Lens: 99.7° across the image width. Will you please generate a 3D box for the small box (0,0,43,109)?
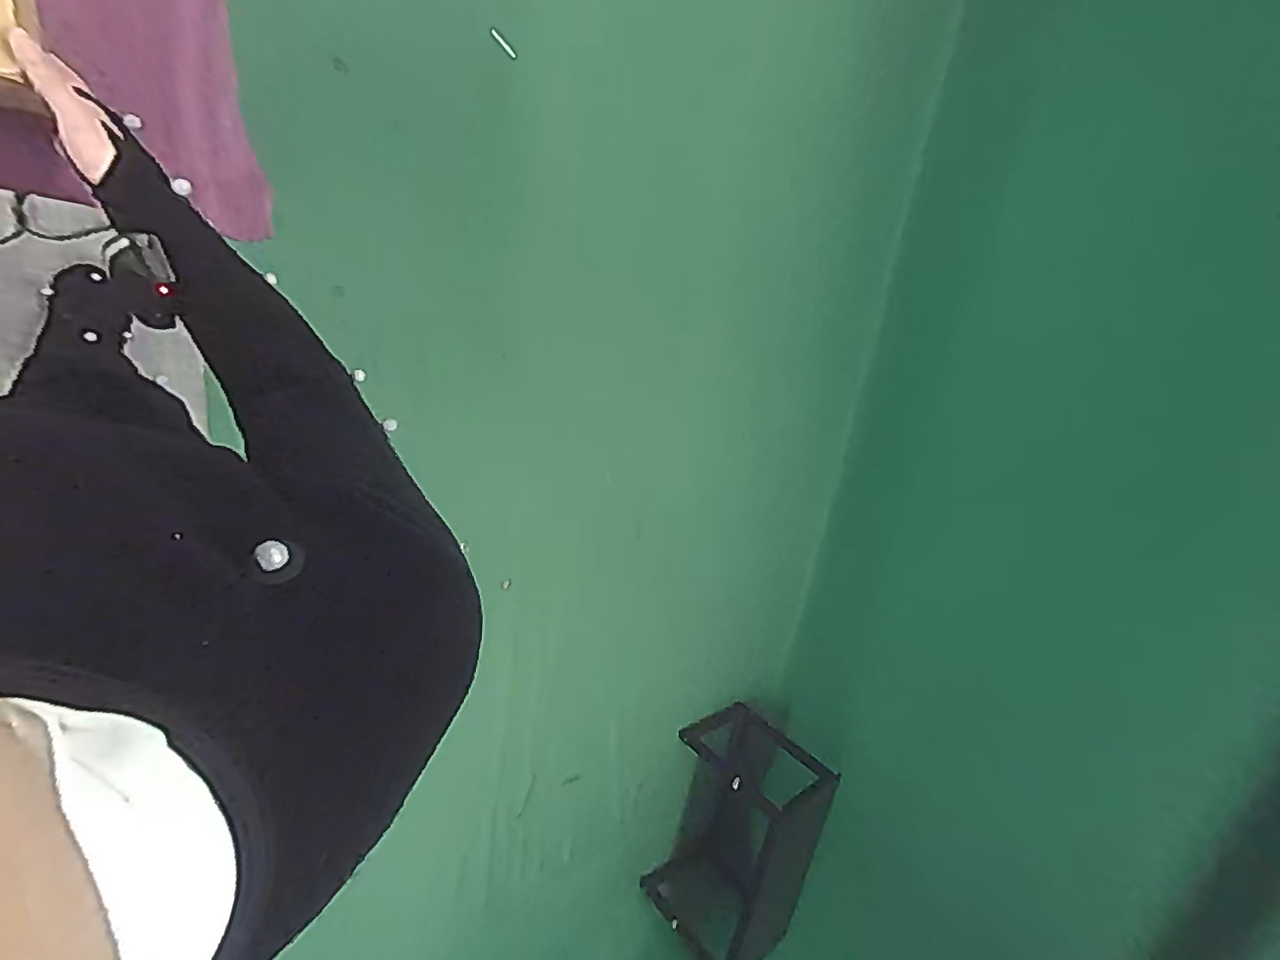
[{"bbox_3d":[-0.595,-0.416,0.410,0.168,0.176,0.179,-8,115,-40],"label":"small box"}]
